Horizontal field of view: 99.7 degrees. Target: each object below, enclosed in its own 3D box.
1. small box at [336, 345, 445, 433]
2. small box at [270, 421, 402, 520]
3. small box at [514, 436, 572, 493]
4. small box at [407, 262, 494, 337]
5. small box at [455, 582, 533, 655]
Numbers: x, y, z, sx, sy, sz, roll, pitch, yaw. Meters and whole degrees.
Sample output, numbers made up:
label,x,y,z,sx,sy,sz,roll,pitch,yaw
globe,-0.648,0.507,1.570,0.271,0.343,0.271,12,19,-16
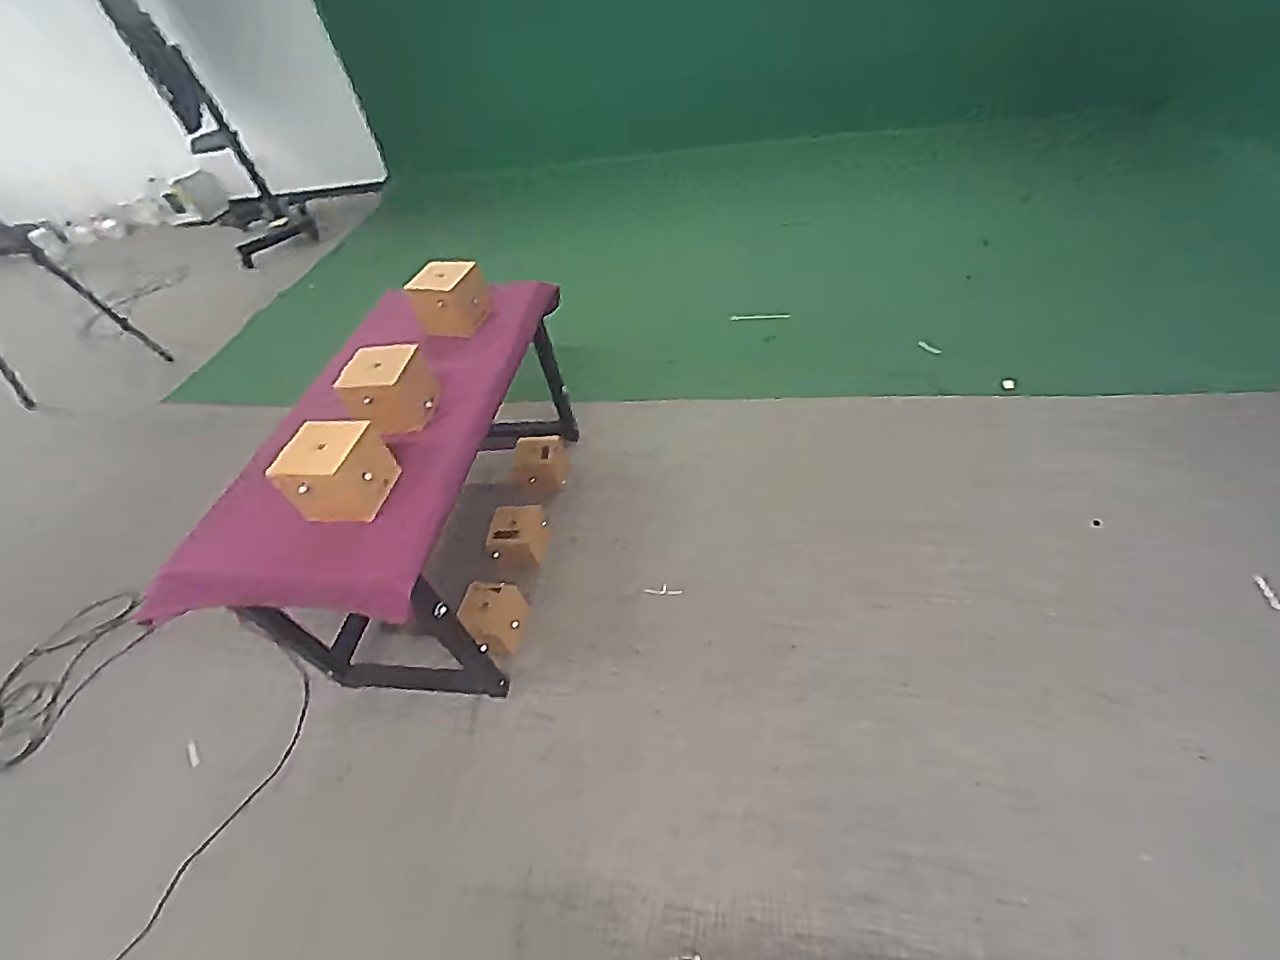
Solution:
label,x,y,z,sx,sy,sz,roll,pitch,yaw
small box,-0.657,-0.239,1.446,0.179,0.176,0.168,-1,49,11
small box,-0.690,-0.020,1.255,0.179,0.176,0.168,0,49,13
small box,-0.391,-0.061,2.215,0.179,0.176,0.168,-3,48,11
small box,-0.596,-0.575,1.733,0.179,0.176,0.168,8,51,18
small box,-0.469,0.456,1.768,0.168,0.176,0.179,2,50,14
